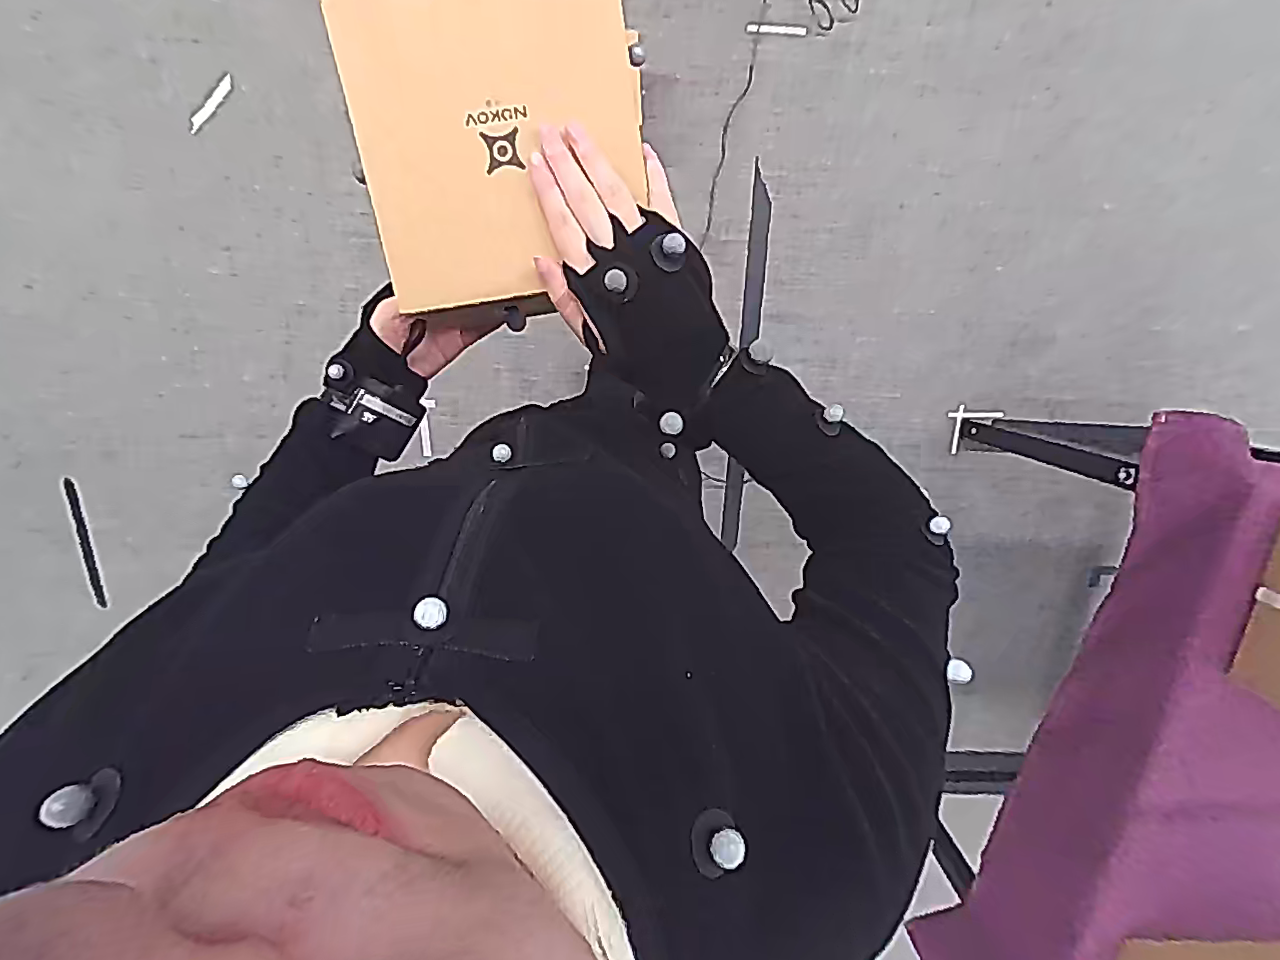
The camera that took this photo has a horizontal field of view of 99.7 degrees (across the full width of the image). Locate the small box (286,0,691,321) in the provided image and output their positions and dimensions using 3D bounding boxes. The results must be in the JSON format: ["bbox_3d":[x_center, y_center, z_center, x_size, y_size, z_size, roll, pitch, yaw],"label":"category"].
[{"bbox_3d":[-0.082,-0.227,0.351,0.179,0.176,0.168,-12,85,16],"label":"small box"}]
